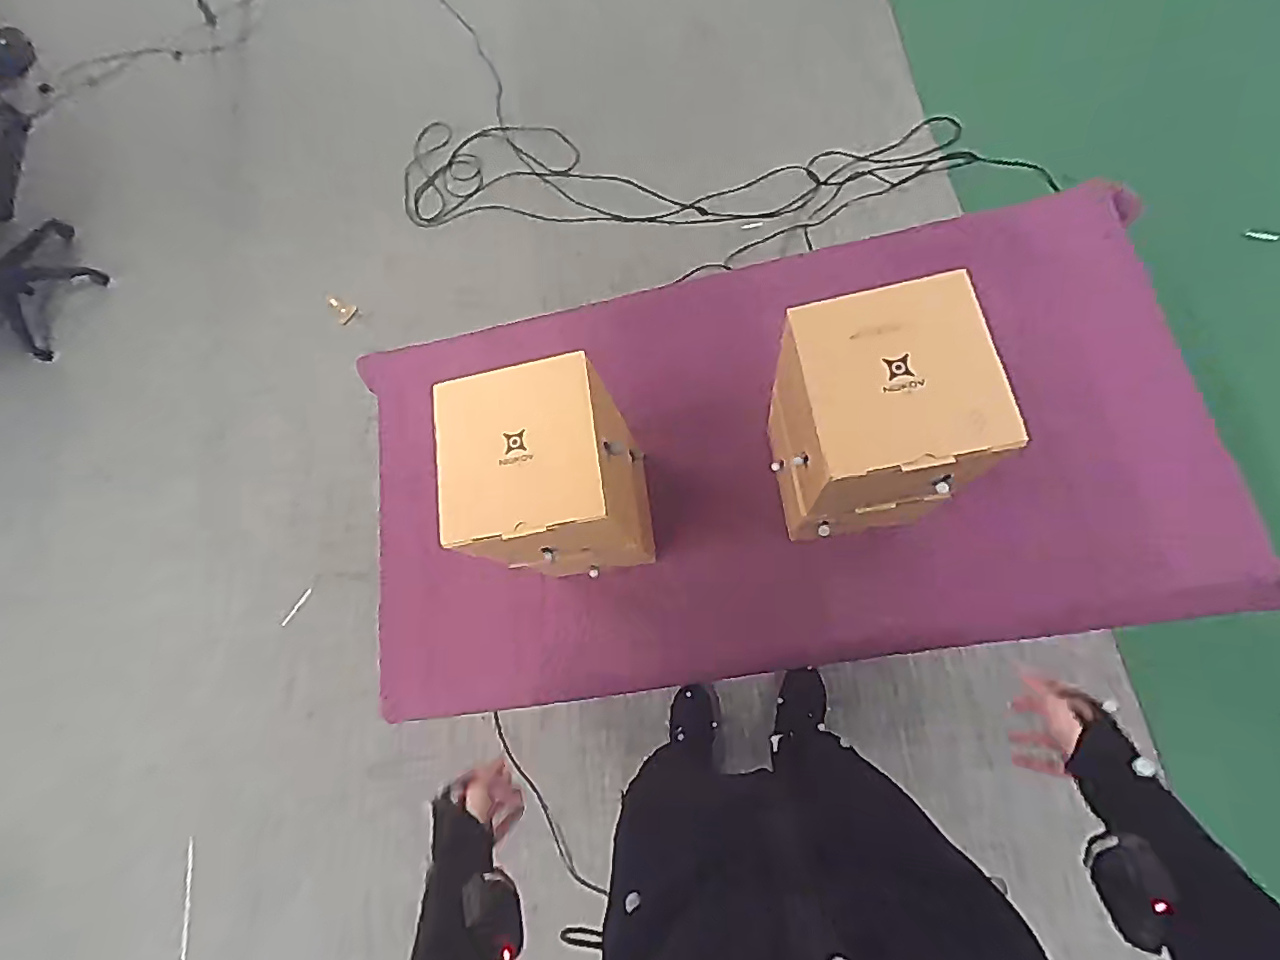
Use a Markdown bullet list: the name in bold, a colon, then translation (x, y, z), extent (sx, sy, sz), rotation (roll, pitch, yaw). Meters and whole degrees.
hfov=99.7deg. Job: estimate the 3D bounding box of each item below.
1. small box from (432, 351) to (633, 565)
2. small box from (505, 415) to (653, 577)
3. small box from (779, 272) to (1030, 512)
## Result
- **small box**: translation (-0.109, -0.012, 0.595), extent (0.168, 0.176, 0.179), rotation (-11, 74, 6)
- **small box**: translation (-0.082, 0.031, 0.749), extent (0.168, 0.176, 0.179), rotation (-9, 74, 8)
- **small box**: translation (0.242, -0.072, 0.548), extent (0.168, 0.176, 0.179), rotation (-10, 73, 7)
